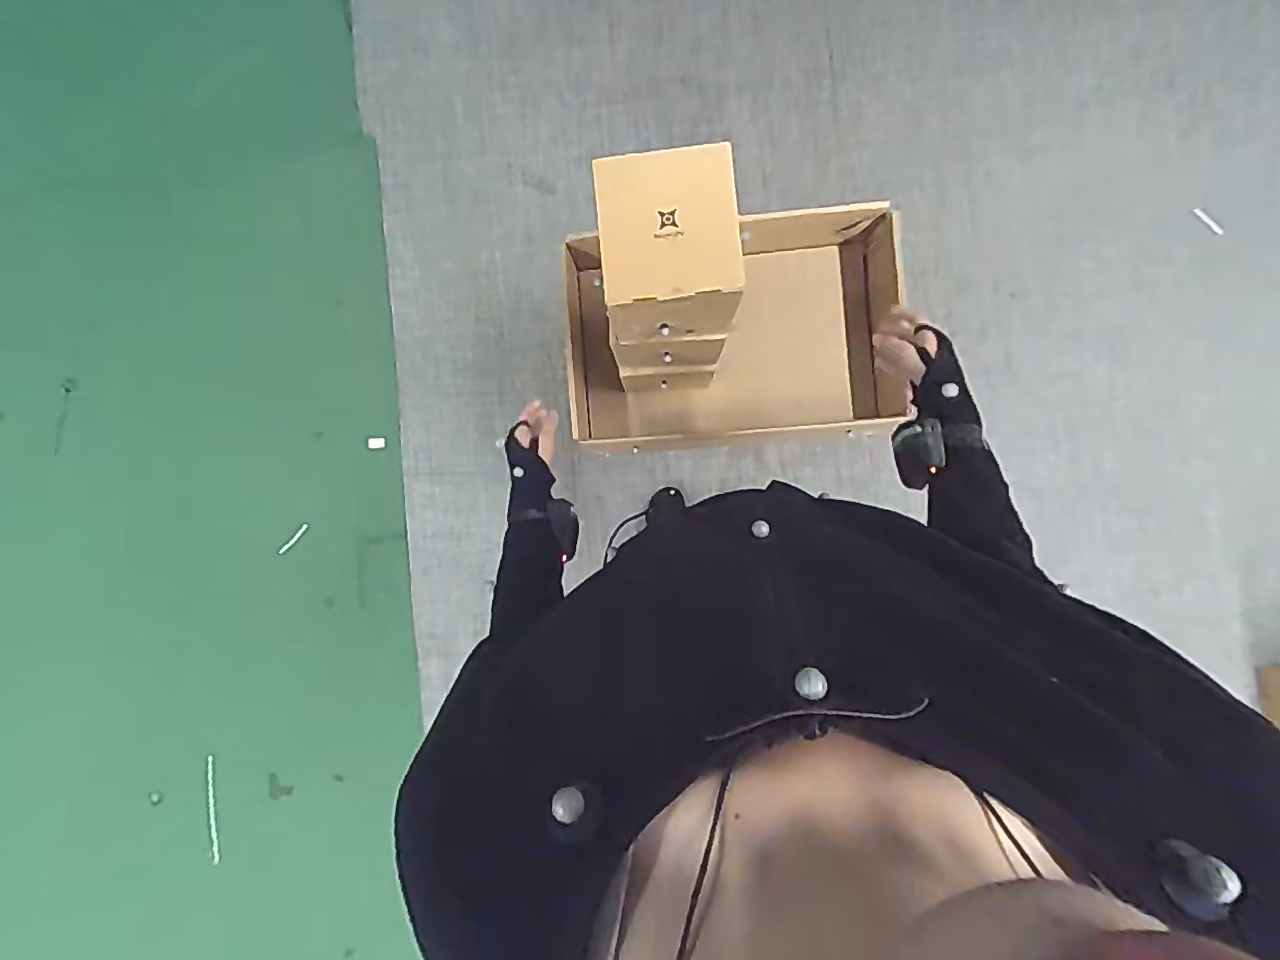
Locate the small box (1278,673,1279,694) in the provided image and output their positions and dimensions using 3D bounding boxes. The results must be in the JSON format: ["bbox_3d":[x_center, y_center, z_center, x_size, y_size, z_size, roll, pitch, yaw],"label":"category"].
[{"bbox_3d":[1.739,0.572,1.322,0.168,0.176,0.179,-6,88,4],"label":"small box"}]

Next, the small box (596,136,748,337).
[{"bbox_3d":[0.039,-0.302,0.702,0.168,0.176,0.179,-6,89,3],"label":"small box"}]

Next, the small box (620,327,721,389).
[{"bbox_3d":[0.054,-0.272,1.028,0.179,0.176,0.168,-3,89,3],"label":"small box"}]
